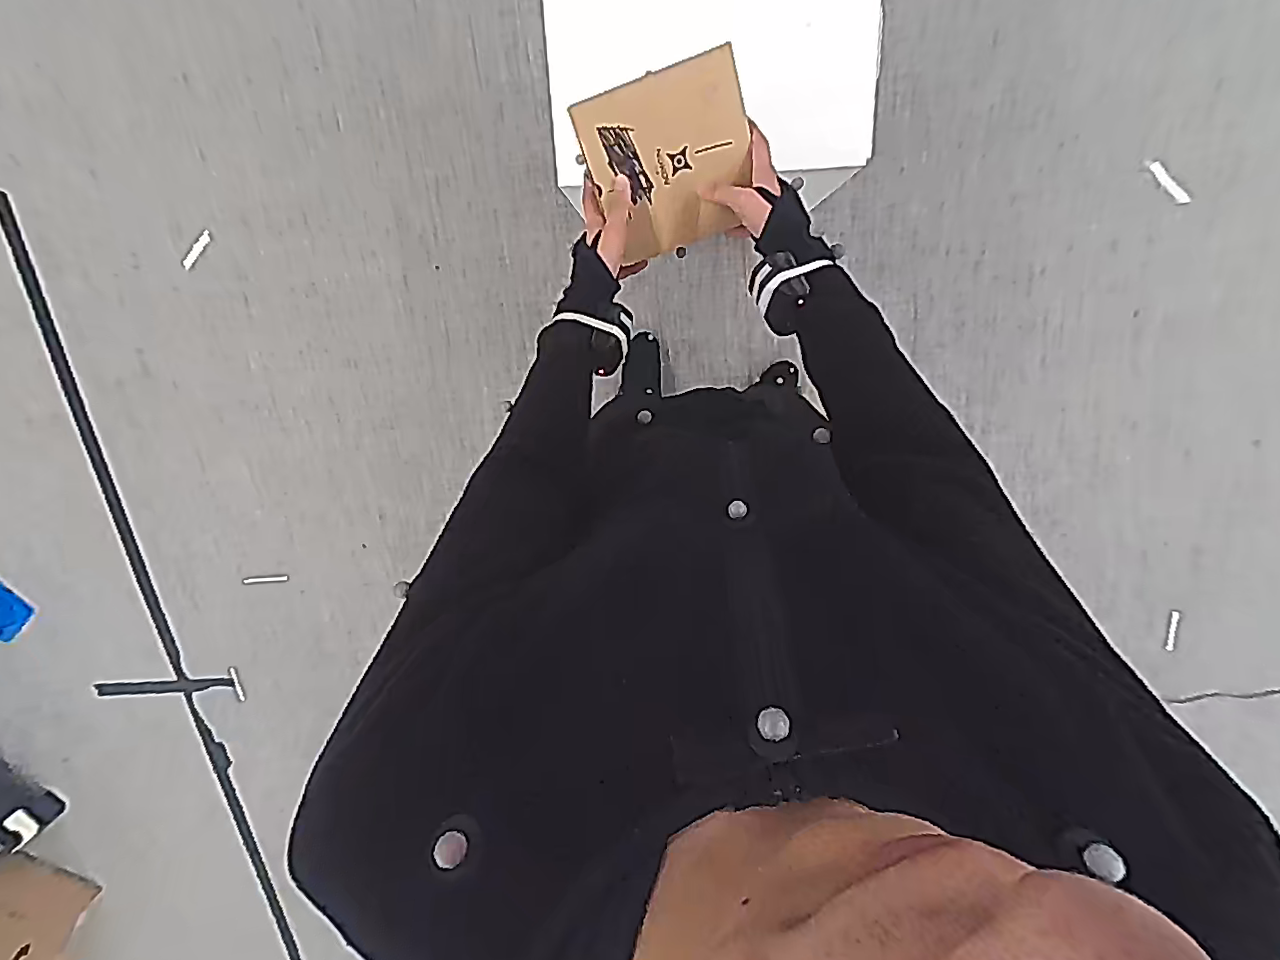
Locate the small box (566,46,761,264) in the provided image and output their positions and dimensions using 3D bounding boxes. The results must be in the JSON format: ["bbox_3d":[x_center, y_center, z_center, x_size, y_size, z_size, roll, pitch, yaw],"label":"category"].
[{"bbox_3d":[0.027,-0.371,0.650,0.179,0.176,0.168,-18,114,5],"label":"small box"}]
